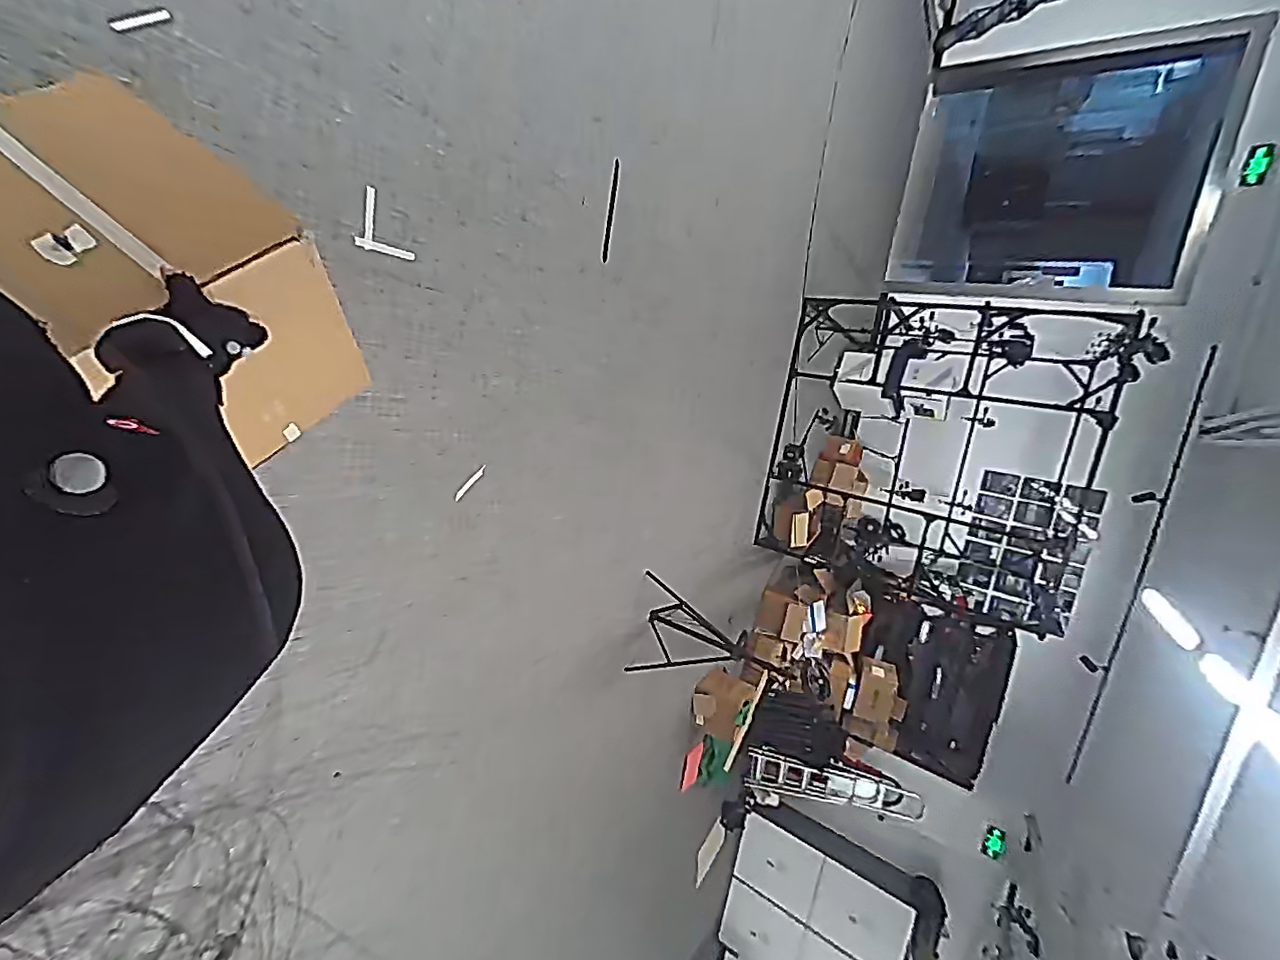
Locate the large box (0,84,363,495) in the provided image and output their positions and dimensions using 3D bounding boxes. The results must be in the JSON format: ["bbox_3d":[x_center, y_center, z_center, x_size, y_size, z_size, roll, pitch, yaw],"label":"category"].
[{"bbox_3d":[-0.692,-0.253,0.766,0.320,0.408,0.320,-50,172,-27],"label":"large box"}]
